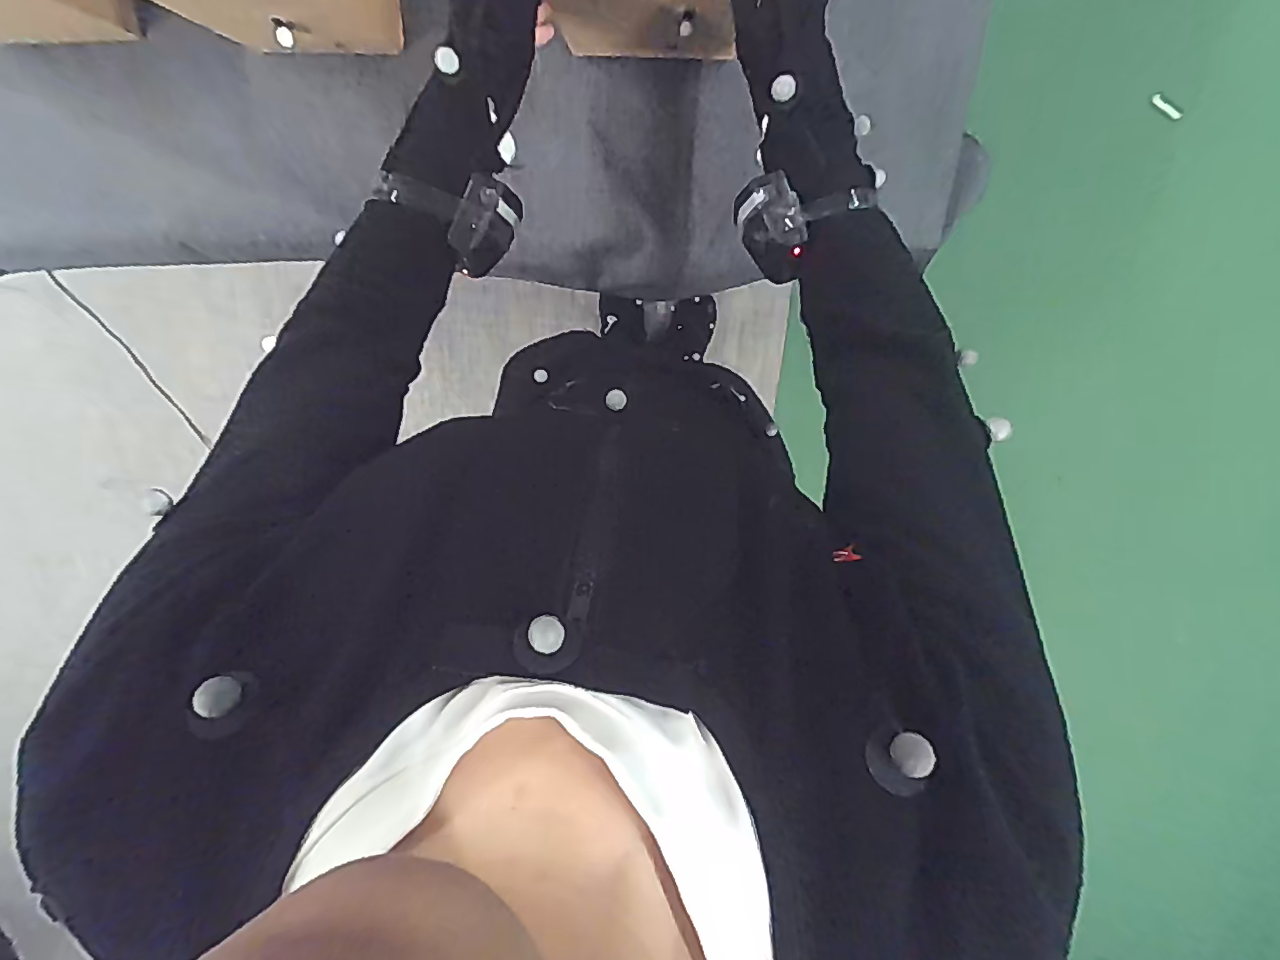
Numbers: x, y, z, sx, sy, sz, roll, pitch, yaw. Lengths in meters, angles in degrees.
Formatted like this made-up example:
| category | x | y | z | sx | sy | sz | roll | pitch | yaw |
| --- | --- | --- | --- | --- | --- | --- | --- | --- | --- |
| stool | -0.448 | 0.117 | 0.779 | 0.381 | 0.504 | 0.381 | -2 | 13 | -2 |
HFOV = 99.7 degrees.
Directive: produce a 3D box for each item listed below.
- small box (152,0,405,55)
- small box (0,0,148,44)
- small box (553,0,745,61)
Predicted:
| category | x | y | z | sx | sy | sz | roll | pitch | yaw |
| --- | --- | --- | --- | --- | --- | --- | --- | --- | --- |
| small box | -0.326 | -0.501 | 0.471 | 0.168 | 0.176 | 0.179 | 4 | 112 | 4 |
| small box | -0.617 | -0.522 | 0.487 | 0.179 | 0.176 | 0.168 | 1 | 112 | 3 |
| small box | 0.012 | -0.479 | 0.443 | 0.168 | 0.176 | 0.179 | 4 | 106 | 3 |
